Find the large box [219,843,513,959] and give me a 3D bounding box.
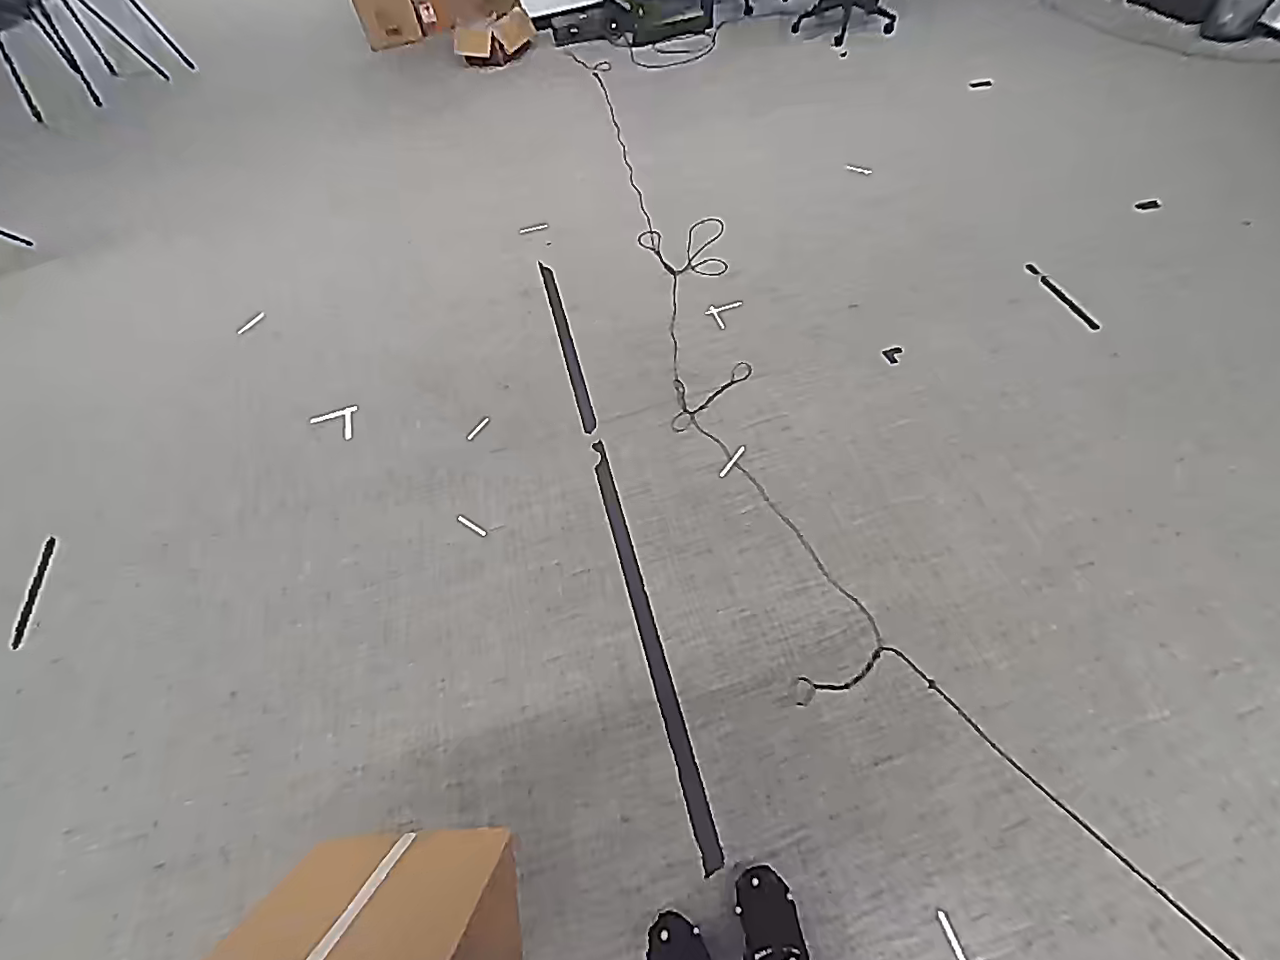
[{"bbox_3d":[-0.355,0.725,0.652,0.320,0.408,0.320,-7,89,3],"label":"large box"}]
